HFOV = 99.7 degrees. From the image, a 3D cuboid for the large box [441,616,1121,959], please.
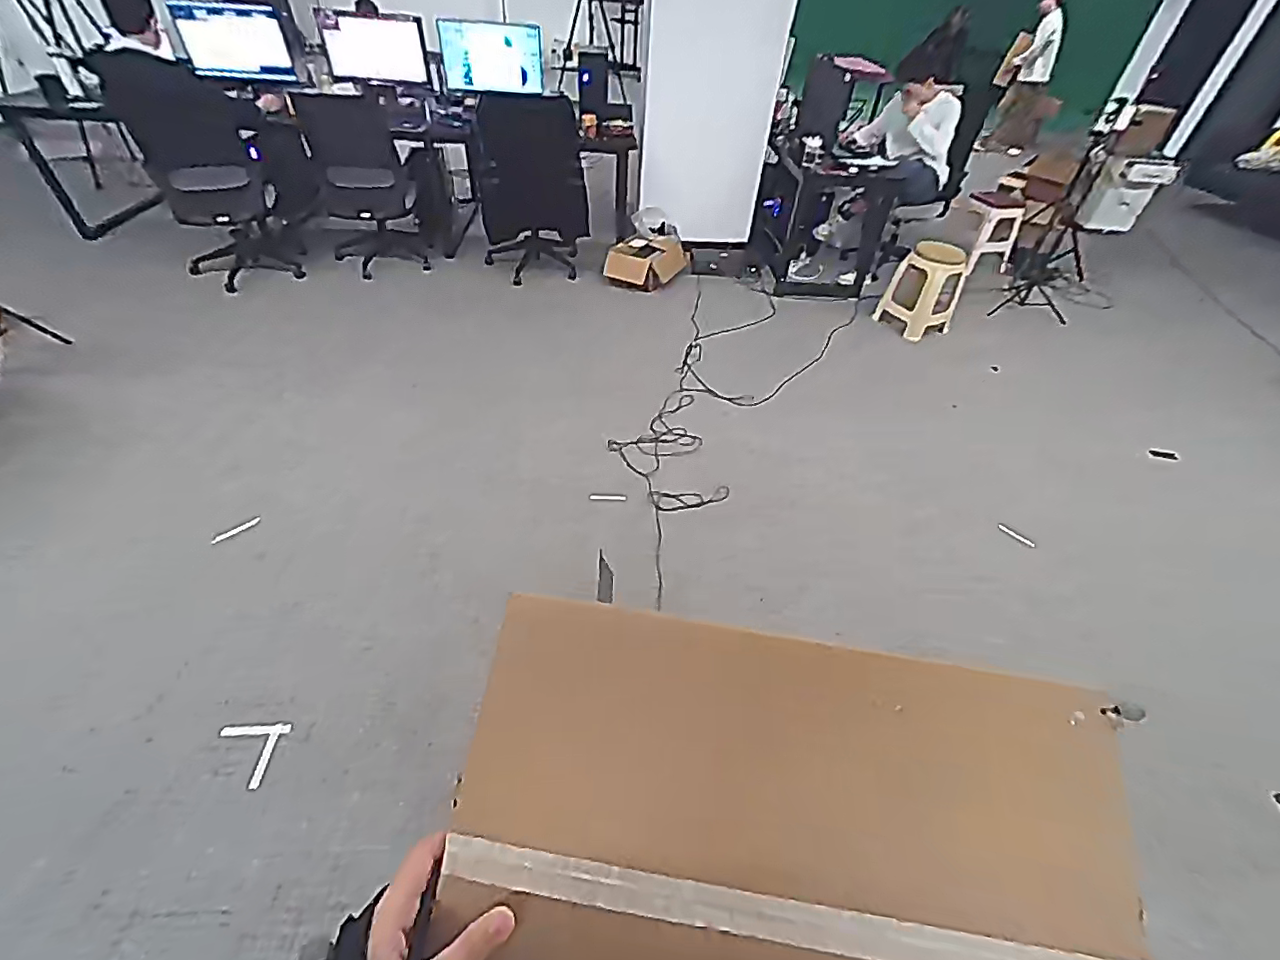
[{"bbox_3d":[0.082,0.315,0.463,0.408,0.320,0.320,8,71,2],"label":"large box"}]
